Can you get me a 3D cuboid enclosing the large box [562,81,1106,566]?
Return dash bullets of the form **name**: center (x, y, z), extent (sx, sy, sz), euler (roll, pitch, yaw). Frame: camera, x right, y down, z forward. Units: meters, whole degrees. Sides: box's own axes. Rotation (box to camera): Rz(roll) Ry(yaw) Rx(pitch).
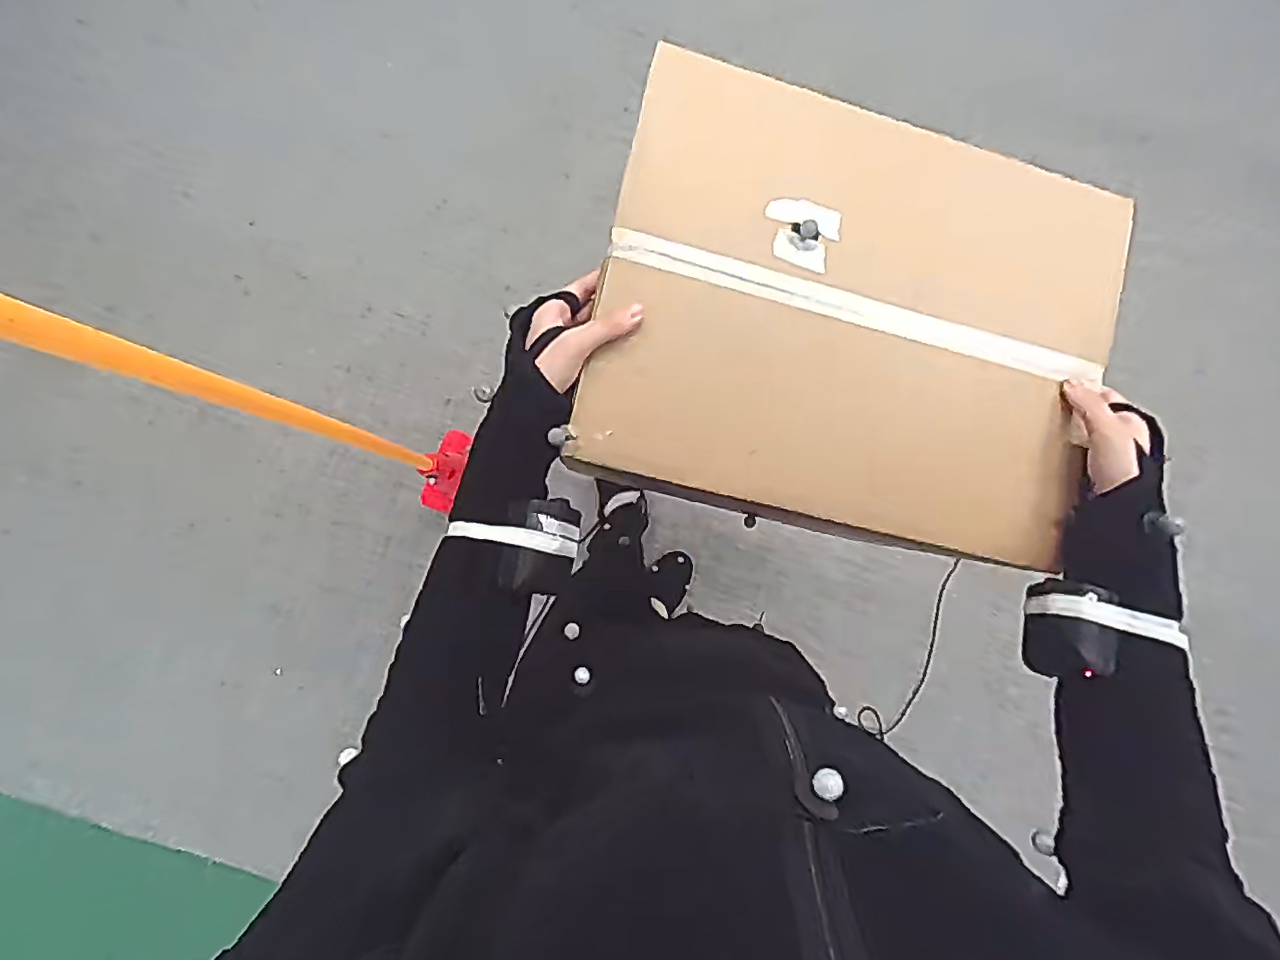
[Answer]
- **large box**: center (0.151, -0.116, 0.575), extent (0.408, 0.320, 0.320), euler (13, 87, -6)
